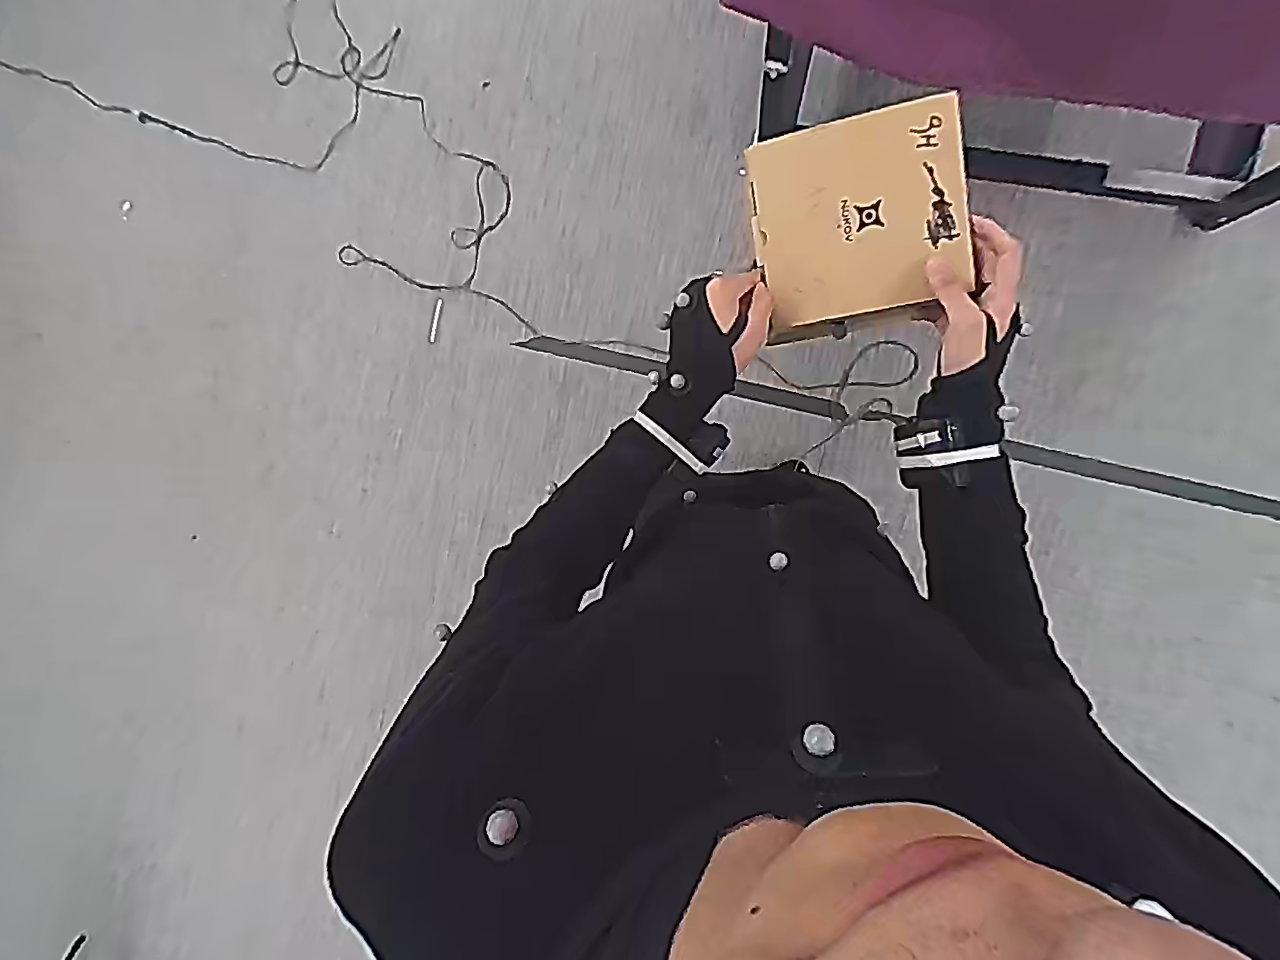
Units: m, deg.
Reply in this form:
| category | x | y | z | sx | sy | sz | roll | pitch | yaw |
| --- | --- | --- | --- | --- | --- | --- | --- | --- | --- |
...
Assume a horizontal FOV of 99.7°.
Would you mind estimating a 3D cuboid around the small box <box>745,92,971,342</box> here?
| category | x | y | z | sx | sy | sz | roll | pitch | yaw |
| --- | --- | --- | --- | --- | --- | --- | --- | --- | --- |
| small box | 0.207 | -0.244 | 0.554 | 0.179 | 0.176 | 0.168 | -8 | 97 | 12 |
